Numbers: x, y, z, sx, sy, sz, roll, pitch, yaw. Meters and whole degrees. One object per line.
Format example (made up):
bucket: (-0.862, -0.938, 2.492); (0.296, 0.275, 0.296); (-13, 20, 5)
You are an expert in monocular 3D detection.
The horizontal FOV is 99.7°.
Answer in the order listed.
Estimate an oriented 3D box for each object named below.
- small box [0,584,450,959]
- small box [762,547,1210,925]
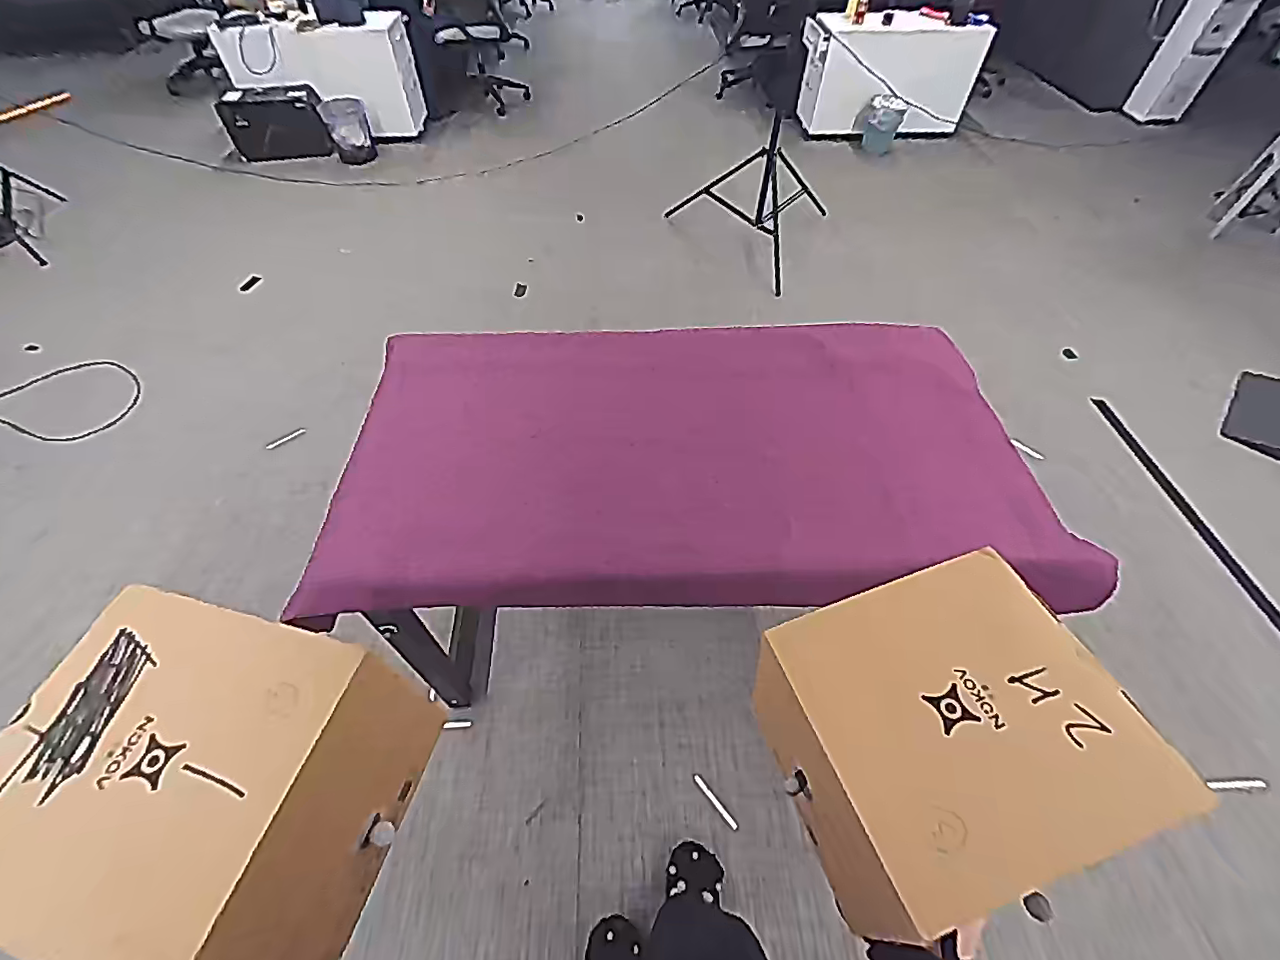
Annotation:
small box: (-0.258, 0.194, 0.356); (0.179, 0.176, 0.168); (12, 55, 8)
small box: (0.197, 0.180, 0.377); (0.179, 0.176, 0.168); (-18, 52, -7)
